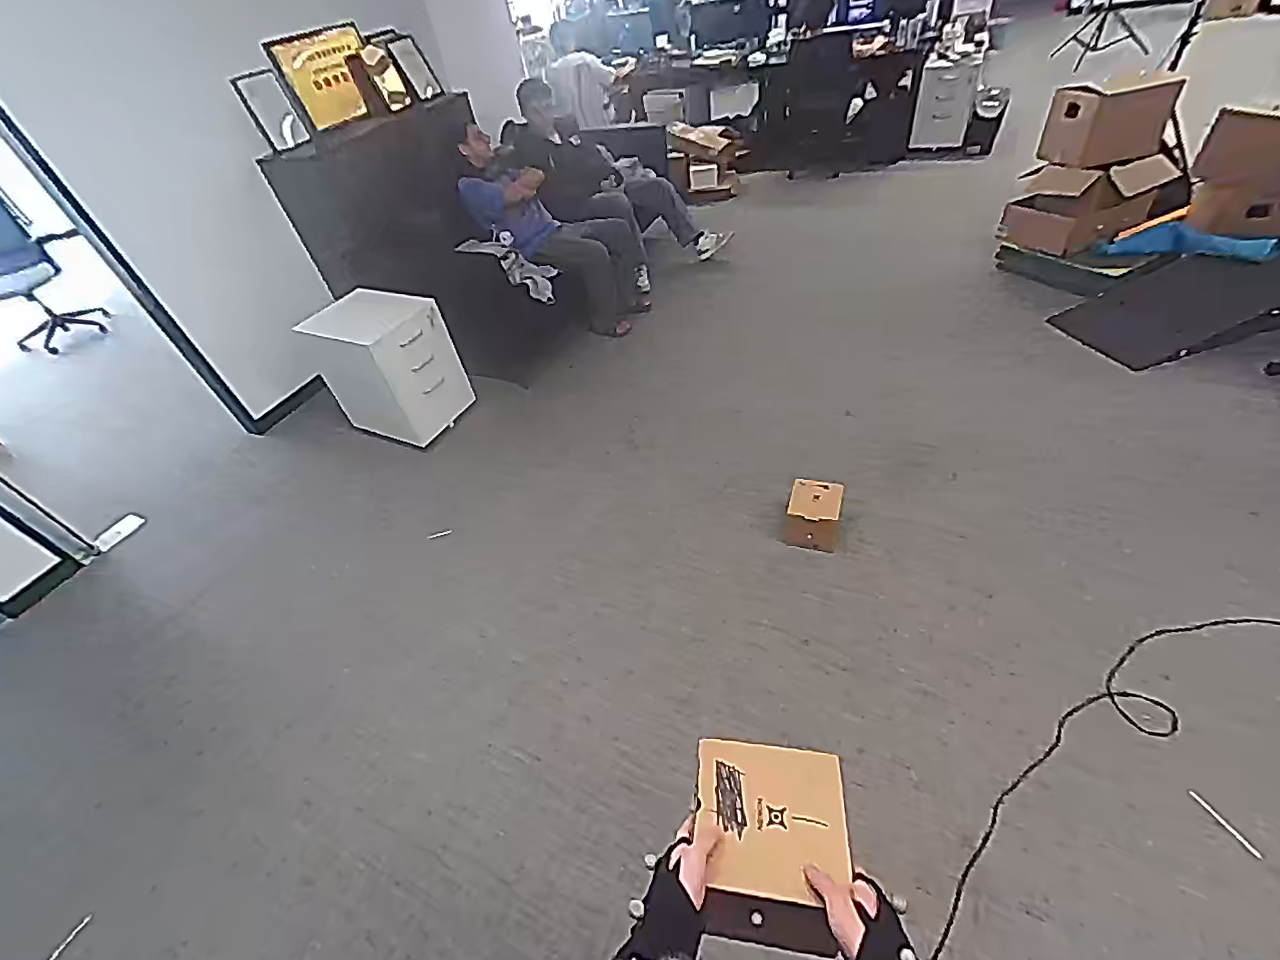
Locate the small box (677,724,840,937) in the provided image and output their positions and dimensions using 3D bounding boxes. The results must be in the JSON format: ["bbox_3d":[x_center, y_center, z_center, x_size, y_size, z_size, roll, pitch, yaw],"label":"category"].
[{"bbox_3d":[0.152,0.442,0.687,0.179,0.176,0.168,4,39,14],"label":"small box"}]

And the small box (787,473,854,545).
[{"bbox_3d":[0.632,0.107,1.903,0.179,0.176,0.168,-14,42,1],"label":"small box"}]
